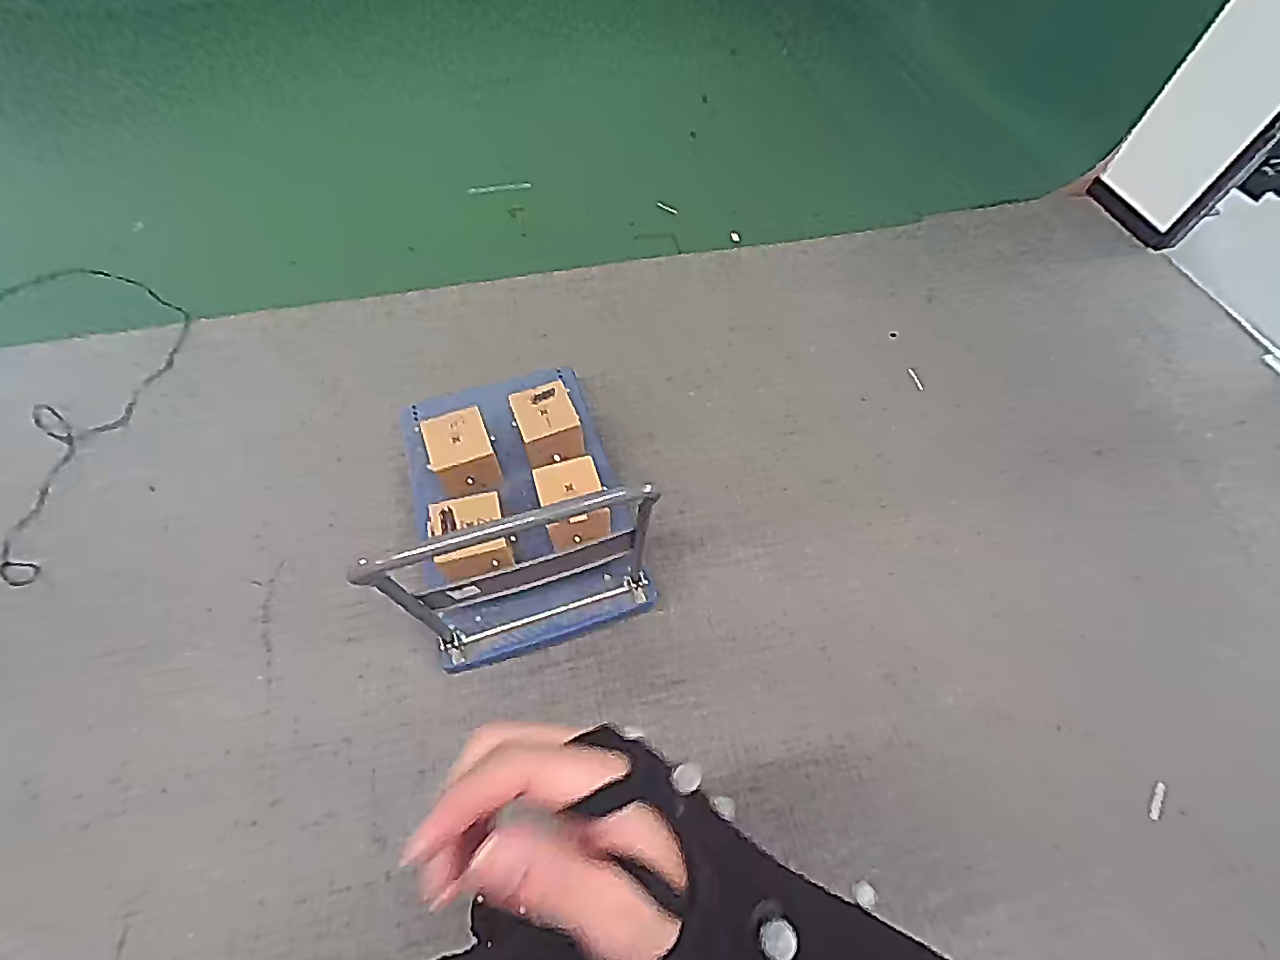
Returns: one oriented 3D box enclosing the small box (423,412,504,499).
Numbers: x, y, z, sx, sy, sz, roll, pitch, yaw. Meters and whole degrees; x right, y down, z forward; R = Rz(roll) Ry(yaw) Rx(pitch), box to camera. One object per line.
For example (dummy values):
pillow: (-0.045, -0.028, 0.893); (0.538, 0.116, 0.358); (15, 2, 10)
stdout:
small box: (-0.507, -0.063, 1.572); (0.168, 0.176, 0.179); (-19, 62, -13)

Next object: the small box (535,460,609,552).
small box: (-0.186, 0.076, 1.501); (0.168, 0.176, 0.179); (-15, 62, -10)

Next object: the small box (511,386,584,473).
small box: (-0.276, -0.147, 1.626); (0.168, 0.176, 0.179); (-20, 63, -11)
